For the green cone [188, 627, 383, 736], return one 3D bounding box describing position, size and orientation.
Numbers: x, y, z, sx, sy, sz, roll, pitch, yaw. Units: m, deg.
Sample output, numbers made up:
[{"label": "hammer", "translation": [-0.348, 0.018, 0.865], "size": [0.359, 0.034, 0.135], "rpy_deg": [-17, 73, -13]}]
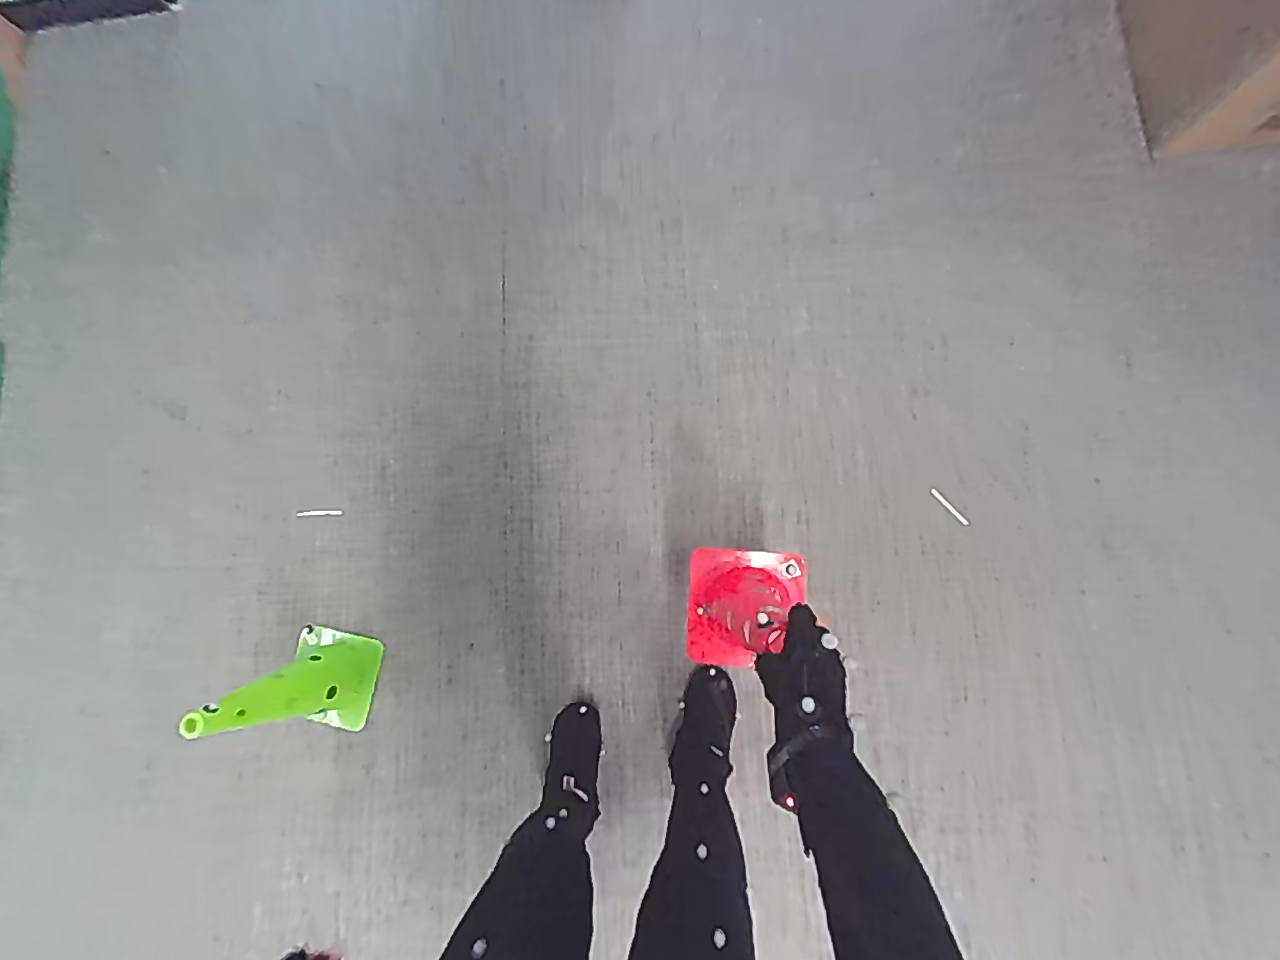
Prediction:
[{"label": "green cone", "translation": [-0.704, 0.422, 1.050], "size": [0.202, 0.368, 0.200], "rpy_deg": [10, 83, 6]}]
